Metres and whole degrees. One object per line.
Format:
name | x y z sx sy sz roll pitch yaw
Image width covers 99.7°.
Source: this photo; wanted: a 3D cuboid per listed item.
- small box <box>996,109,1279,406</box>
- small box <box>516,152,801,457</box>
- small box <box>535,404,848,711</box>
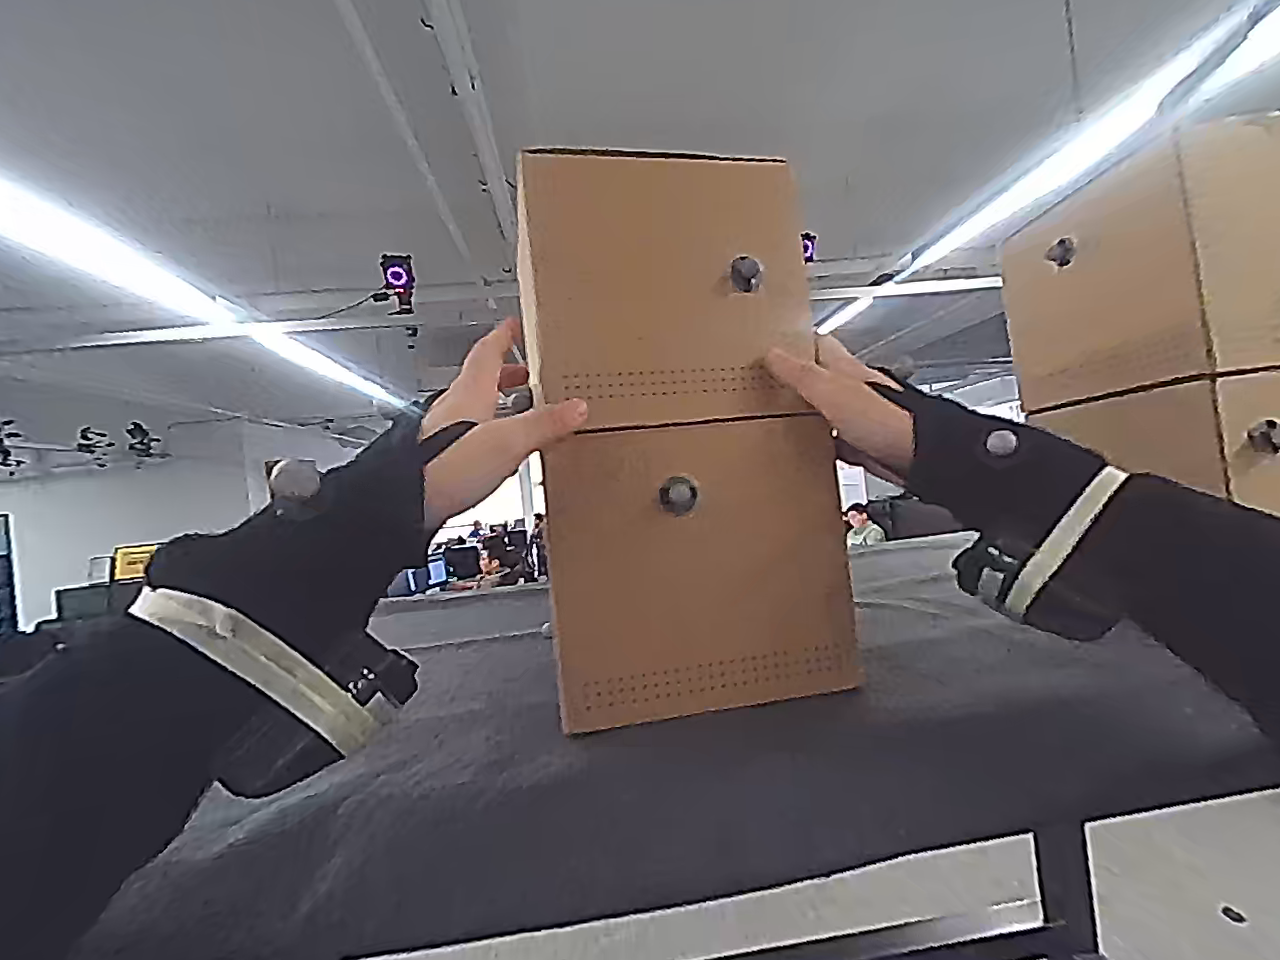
small box | 0.433 -0.160 0.438 0.168 0.176 0.179 -8 -1 -1
small box | 0.004 -0.110 0.404 0.179 0.176 0.168 -7 -3 -13
small box | 0.025 0.051 0.389 0.179 0.176 0.168 -5 -2 -8
